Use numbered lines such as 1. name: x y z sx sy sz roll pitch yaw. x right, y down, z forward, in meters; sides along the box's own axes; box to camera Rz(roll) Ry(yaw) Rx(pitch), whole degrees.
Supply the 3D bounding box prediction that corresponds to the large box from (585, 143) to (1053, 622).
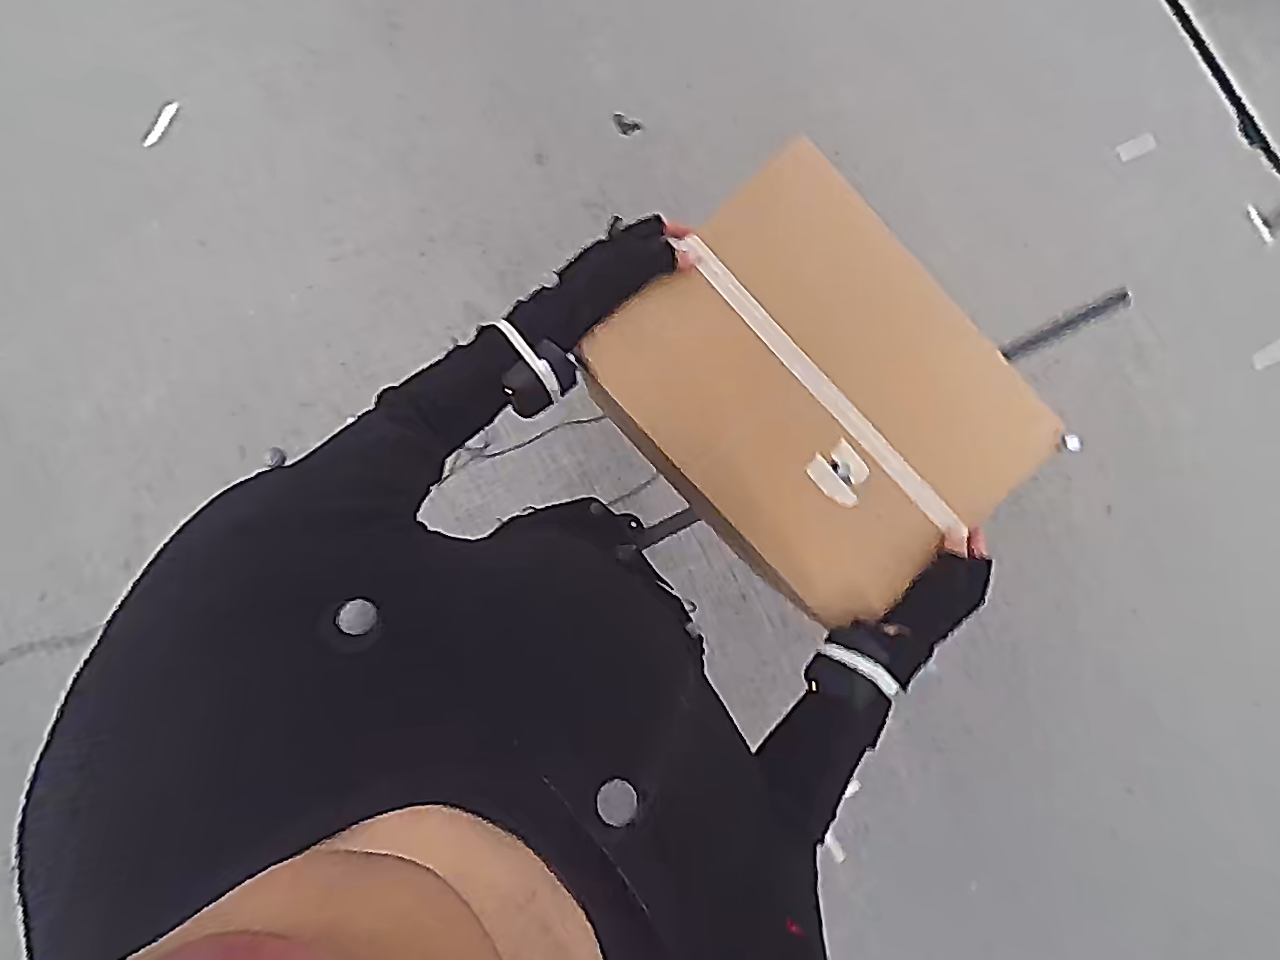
1. large box: 0.178 -0.101 0.696 0.320 0.320 0.408 -43 94 0
